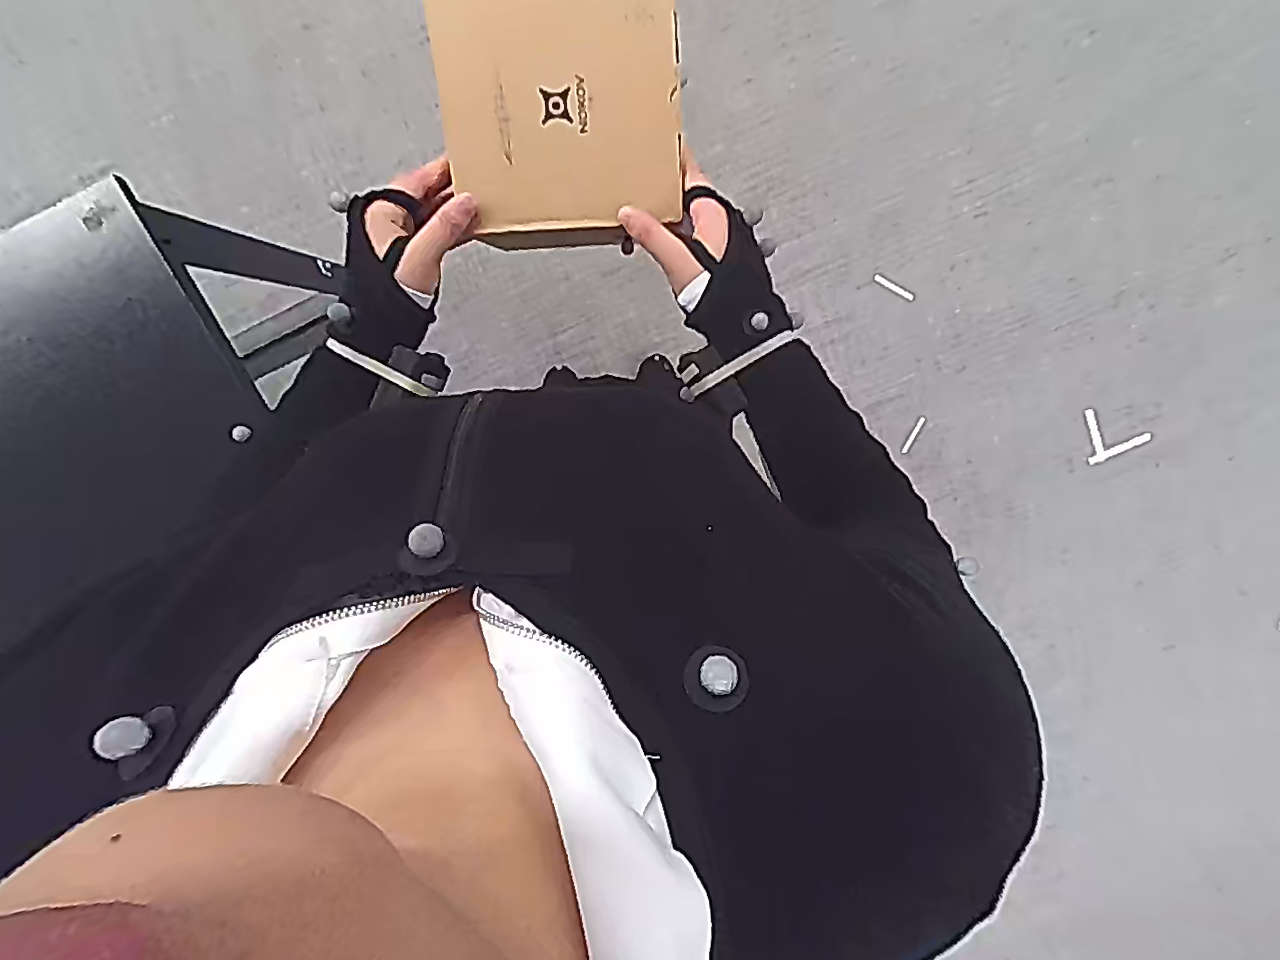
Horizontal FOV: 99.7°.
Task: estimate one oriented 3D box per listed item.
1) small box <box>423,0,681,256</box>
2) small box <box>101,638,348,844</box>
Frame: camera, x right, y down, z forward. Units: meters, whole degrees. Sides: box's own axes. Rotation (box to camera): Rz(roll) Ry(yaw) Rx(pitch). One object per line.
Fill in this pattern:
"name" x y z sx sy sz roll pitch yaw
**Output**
"small box" -0.062 -0.294 0.470 0.179 0.176 0.168 -4 107 0
"small box" -0.549 0.341 0.744 0.168 0.176 0.179 -21 102 5
